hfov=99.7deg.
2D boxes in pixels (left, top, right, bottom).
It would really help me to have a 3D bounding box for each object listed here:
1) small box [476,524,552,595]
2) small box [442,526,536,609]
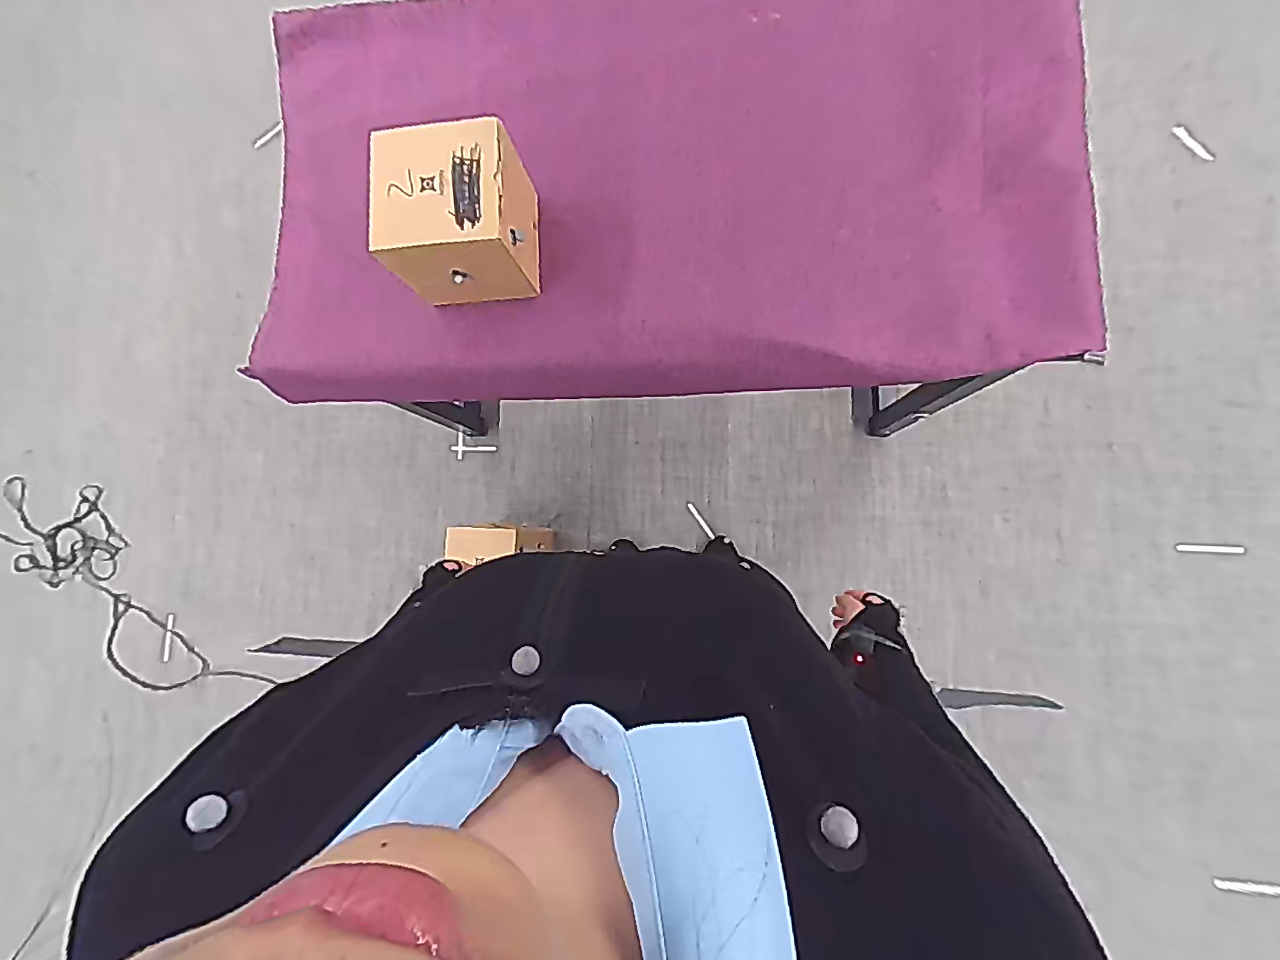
[{"bbox_3d":[-0.345,0.216,1.457,0.168,0.176,0.179,7,85,6],"label":"small box"},{"bbox_3d":[-0.353,0.204,1.292,0.168,0.176,0.179,2,85,6],"label":"small box"}]
